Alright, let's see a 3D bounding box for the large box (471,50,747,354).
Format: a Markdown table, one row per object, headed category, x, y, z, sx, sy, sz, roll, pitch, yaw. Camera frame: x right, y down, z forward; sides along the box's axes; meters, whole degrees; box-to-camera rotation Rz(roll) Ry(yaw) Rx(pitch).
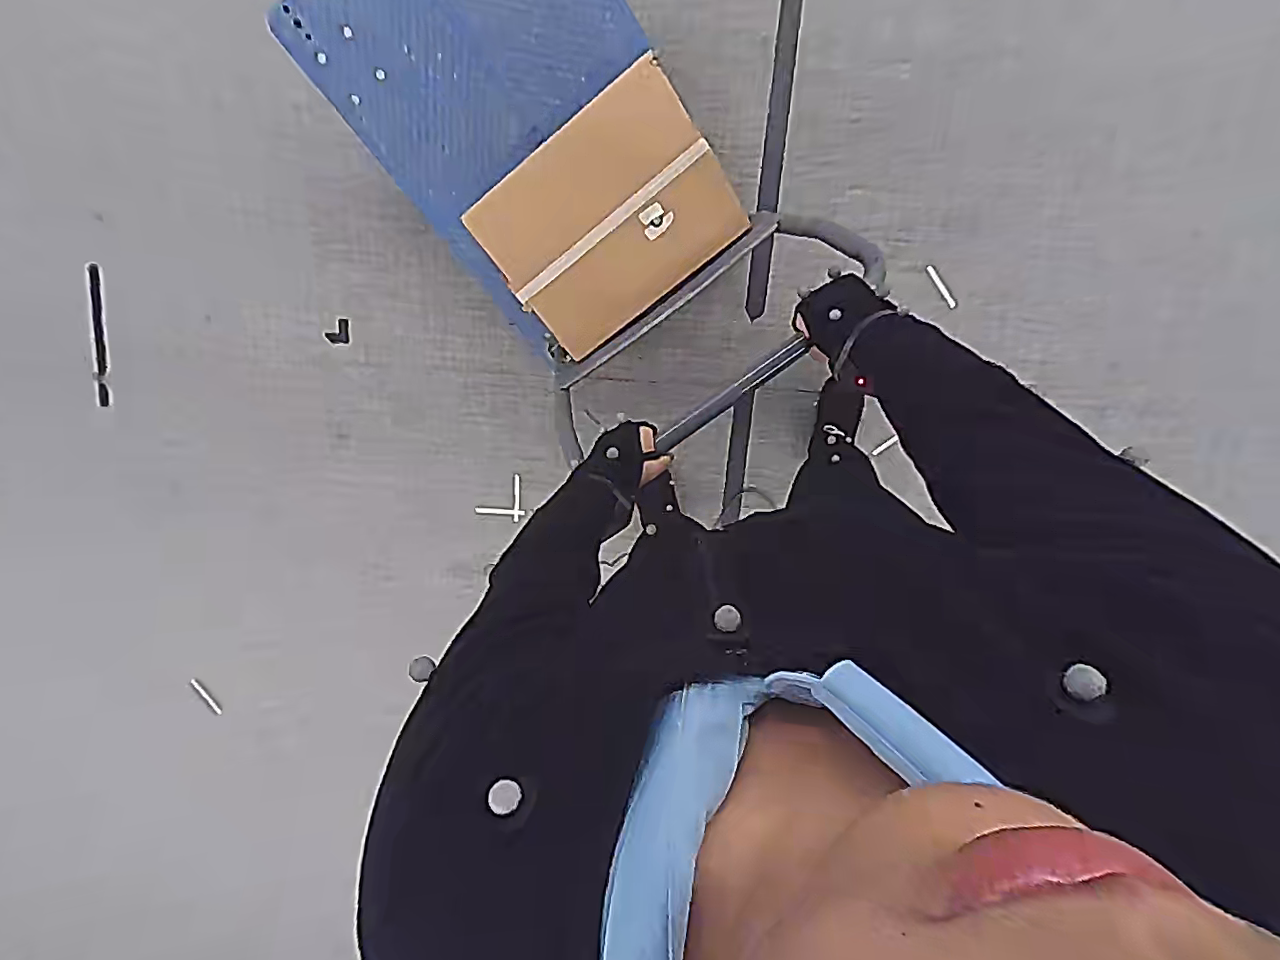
| category | x | y | z | sx | sy | sz | roll | pitch | yaw |
| --- | --- | --- | --- | --- | --- | --- | --- | --- | --- |
| large box | -0.067 | -0.522 | 1.084 | 0.408 | 0.320 | 0.320 | -37 | 115 | 10 |
